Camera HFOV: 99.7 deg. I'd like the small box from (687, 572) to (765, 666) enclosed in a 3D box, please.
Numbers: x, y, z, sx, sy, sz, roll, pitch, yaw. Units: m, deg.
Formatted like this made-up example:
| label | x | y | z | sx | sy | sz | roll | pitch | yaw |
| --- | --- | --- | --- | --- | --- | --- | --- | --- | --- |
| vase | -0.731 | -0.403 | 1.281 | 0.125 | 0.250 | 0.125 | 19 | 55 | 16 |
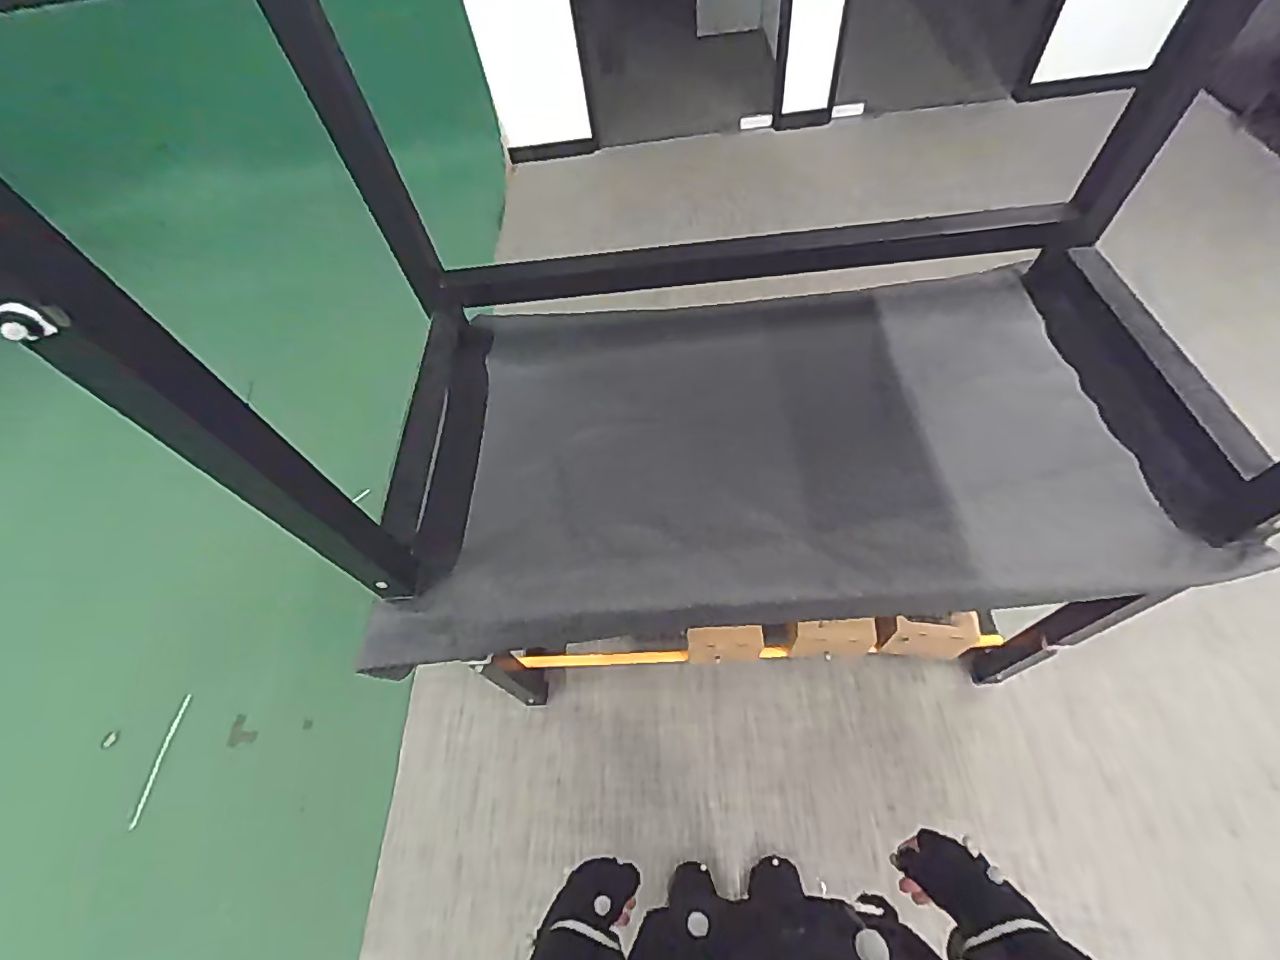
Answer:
| label | x | y | z | sx | sy | sz | roll | pitch | yaw |
| --- | --- | --- | --- | --- | --- | --- | --- | --- | --- |
| small box | 0.196 | 0.330 | 1.277 | 0.168 | 0.176 | 0.179 | -2 | 59 | 5 |
